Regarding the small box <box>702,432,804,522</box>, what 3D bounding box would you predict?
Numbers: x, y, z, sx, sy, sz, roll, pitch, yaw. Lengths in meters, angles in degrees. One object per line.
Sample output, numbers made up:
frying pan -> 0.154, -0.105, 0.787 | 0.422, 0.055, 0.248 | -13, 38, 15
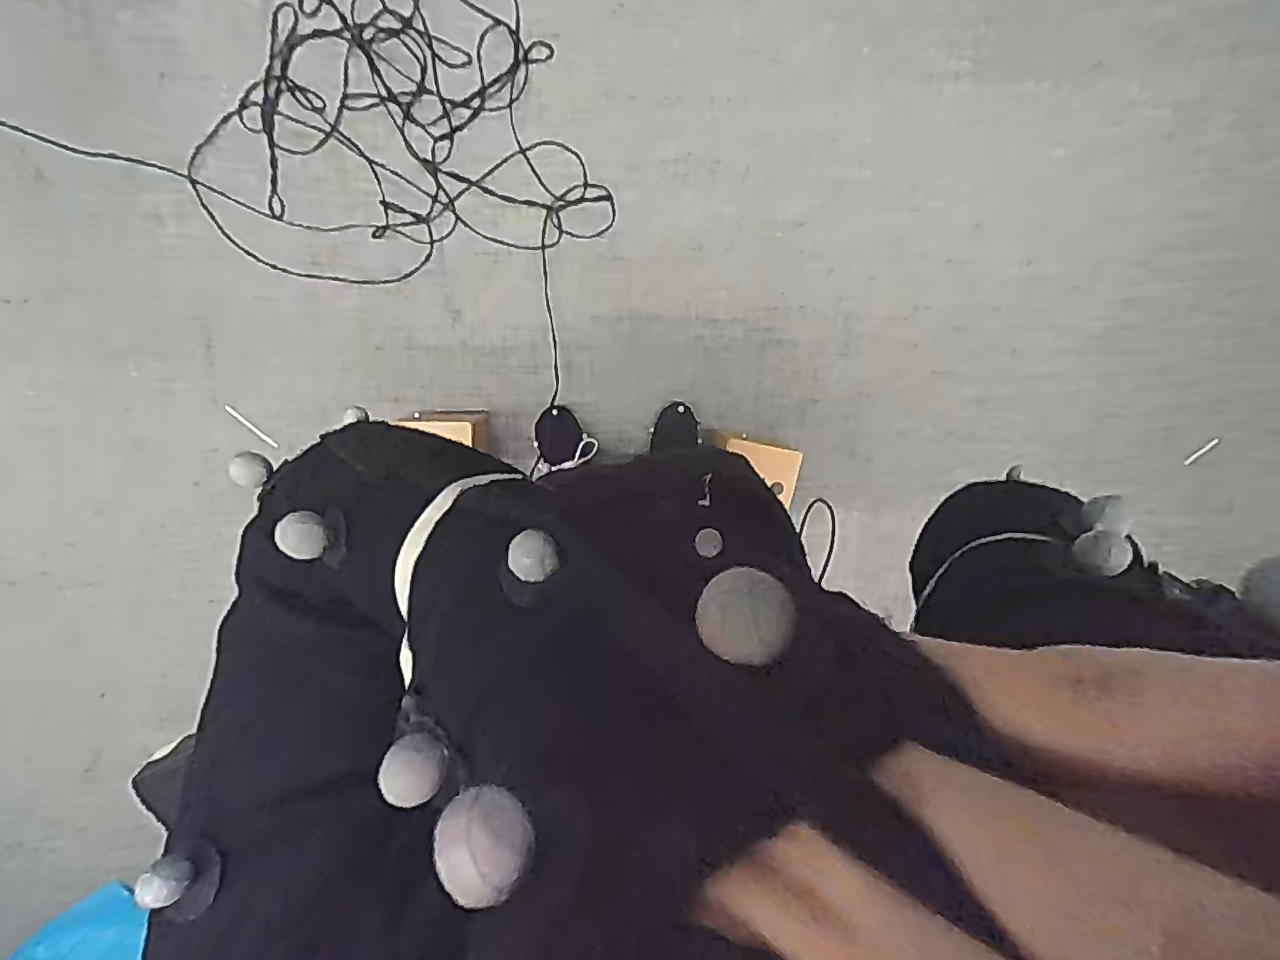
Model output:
small box -> 0.260, -0.013, 1.284 | 0.179, 0.176, 0.168 | 10, 102, -5
